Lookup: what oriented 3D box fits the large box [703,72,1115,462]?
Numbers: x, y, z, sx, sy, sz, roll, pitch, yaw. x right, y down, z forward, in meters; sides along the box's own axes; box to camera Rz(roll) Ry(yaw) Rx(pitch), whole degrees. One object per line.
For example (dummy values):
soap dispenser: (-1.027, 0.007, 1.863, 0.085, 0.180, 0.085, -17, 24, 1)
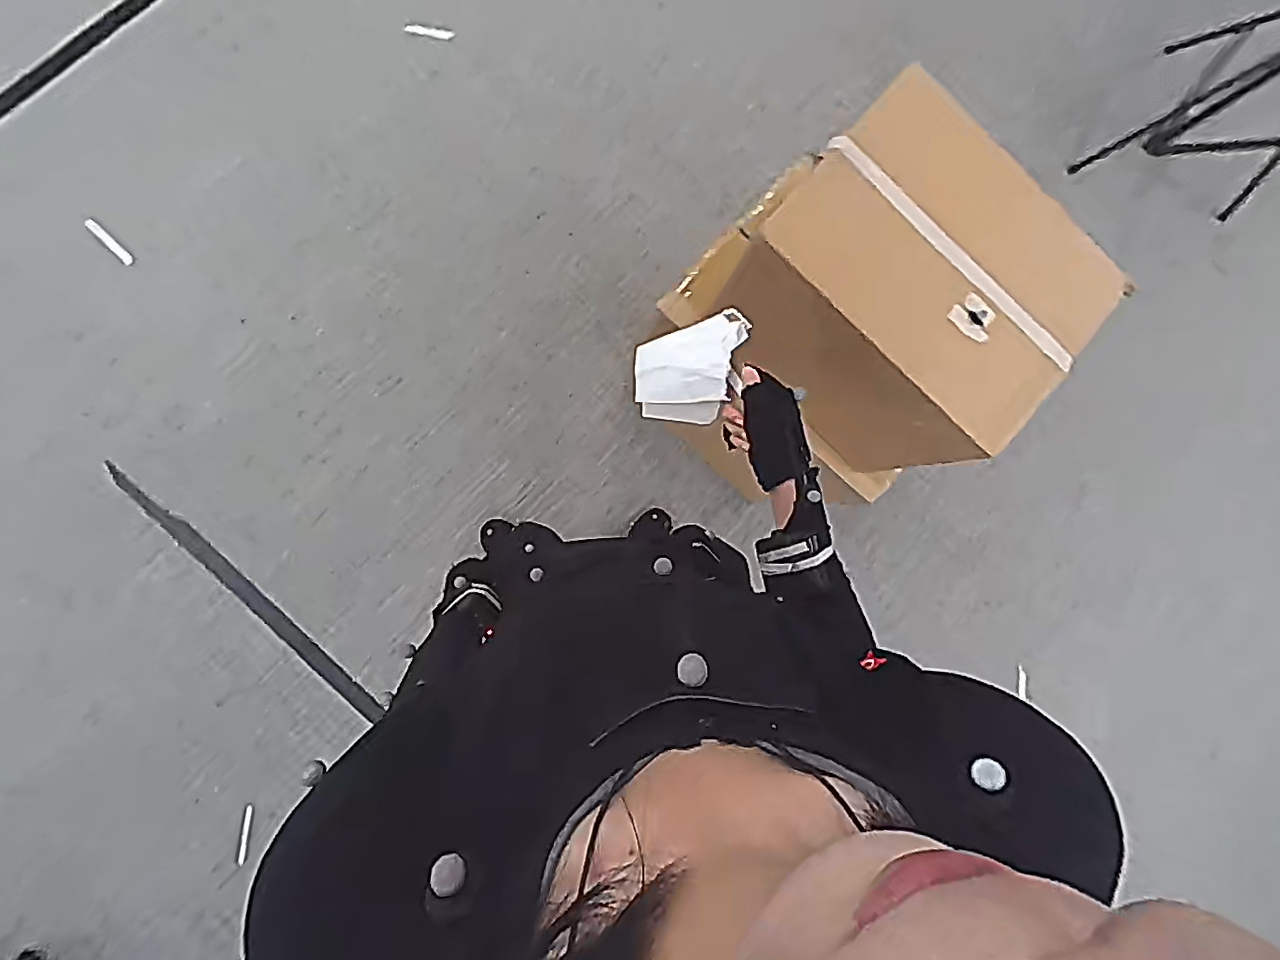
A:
large box: (0.369, -0.279, 0.834, 0.408, 0.320, 0.320, 42, 83, -4)
